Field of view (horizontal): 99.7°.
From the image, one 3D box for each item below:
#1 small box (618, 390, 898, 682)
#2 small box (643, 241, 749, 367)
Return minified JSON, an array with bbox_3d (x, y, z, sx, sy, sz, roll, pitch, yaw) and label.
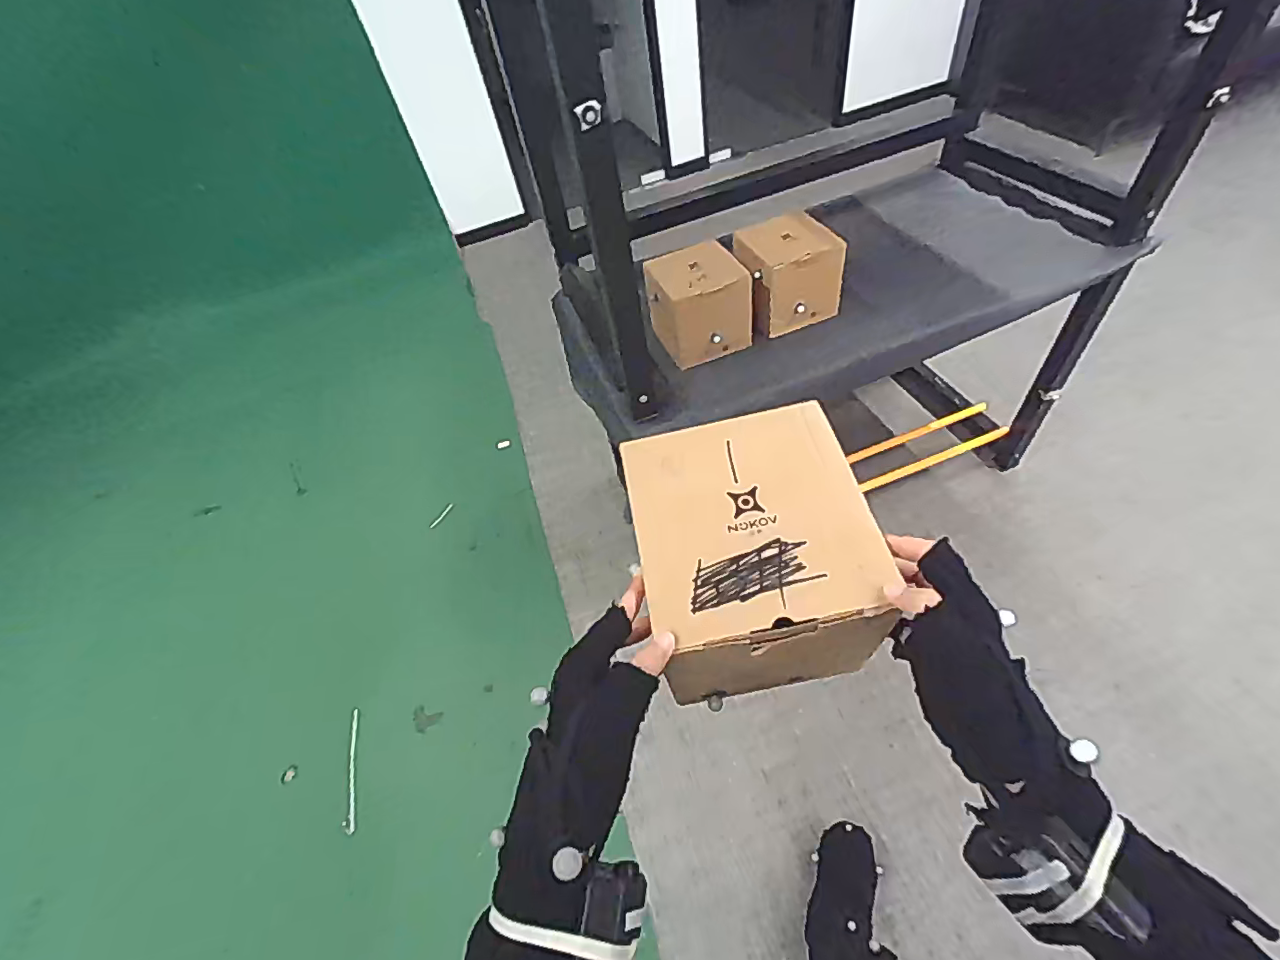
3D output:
[{"bbox_3d":[0.086,0.058,0.456,0.168,0.176,0.179,-12,55,2],"label":"small box"},{"bbox_3d":[0.118,-0.369,1.140,0.168,0.176,0.179,-21,49,-6],"label":"small box"}]
